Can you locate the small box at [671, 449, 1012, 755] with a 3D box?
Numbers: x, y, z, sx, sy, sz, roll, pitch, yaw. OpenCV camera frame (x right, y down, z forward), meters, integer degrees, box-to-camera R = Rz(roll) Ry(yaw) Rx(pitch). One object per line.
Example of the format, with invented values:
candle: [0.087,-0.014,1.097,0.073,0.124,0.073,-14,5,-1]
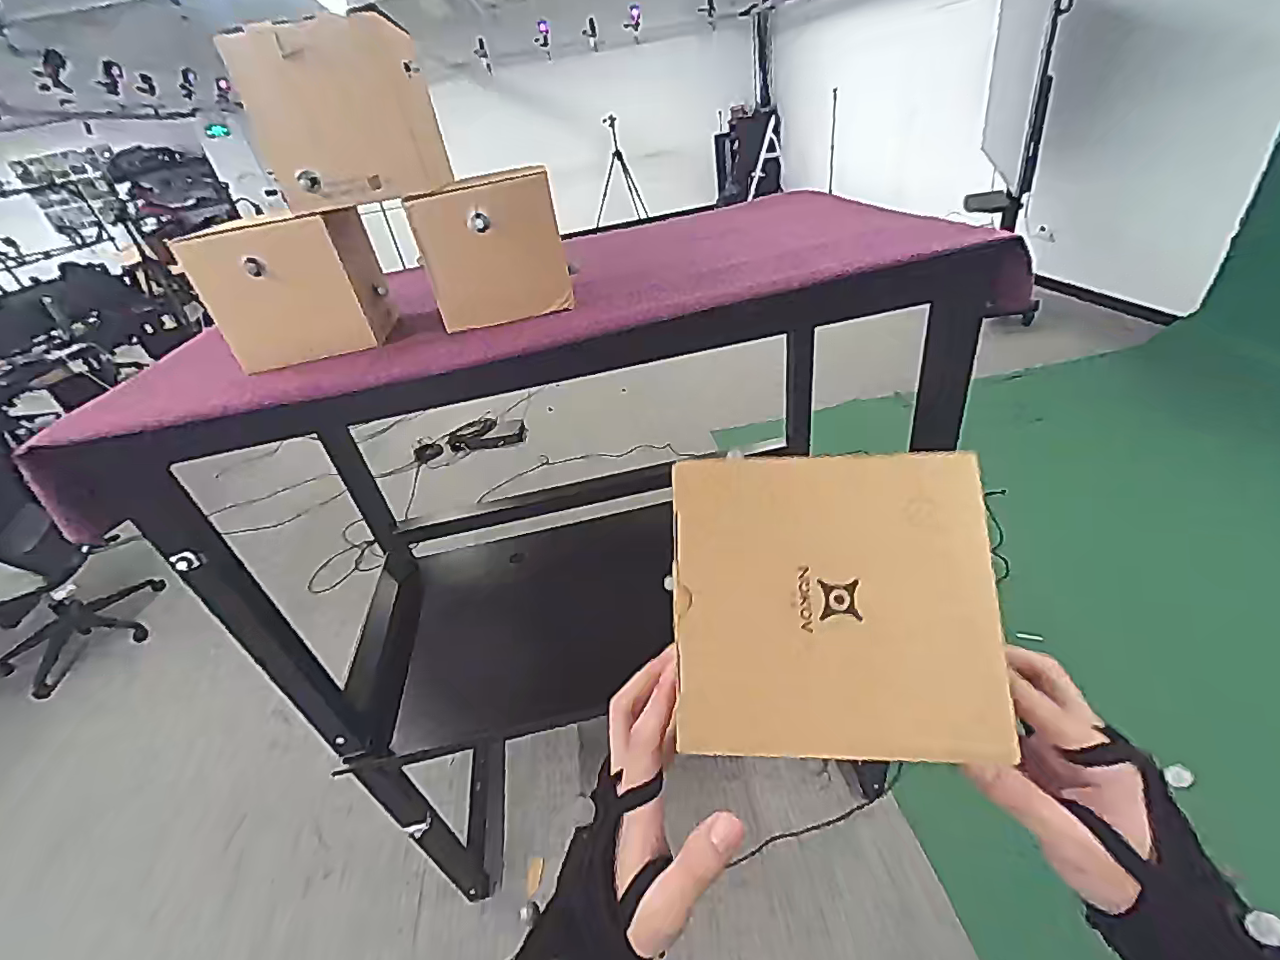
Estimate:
small box: [0.114,0.079,0.379,0.179,0.176,0.168,-3,79,7]

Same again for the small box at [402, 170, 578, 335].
small box: [-0.193,-0.312,0.743,0.179,0.176,0.168,-12,34,-2]

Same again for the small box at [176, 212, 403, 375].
small box: [-0.455,-0.259,0.739,0.179,0.176,0.168,-14,35,-4]

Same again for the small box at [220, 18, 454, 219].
small box: [-0.342,-0.426,0.658,0.168,0.176,0.179,-11,33,-1]
